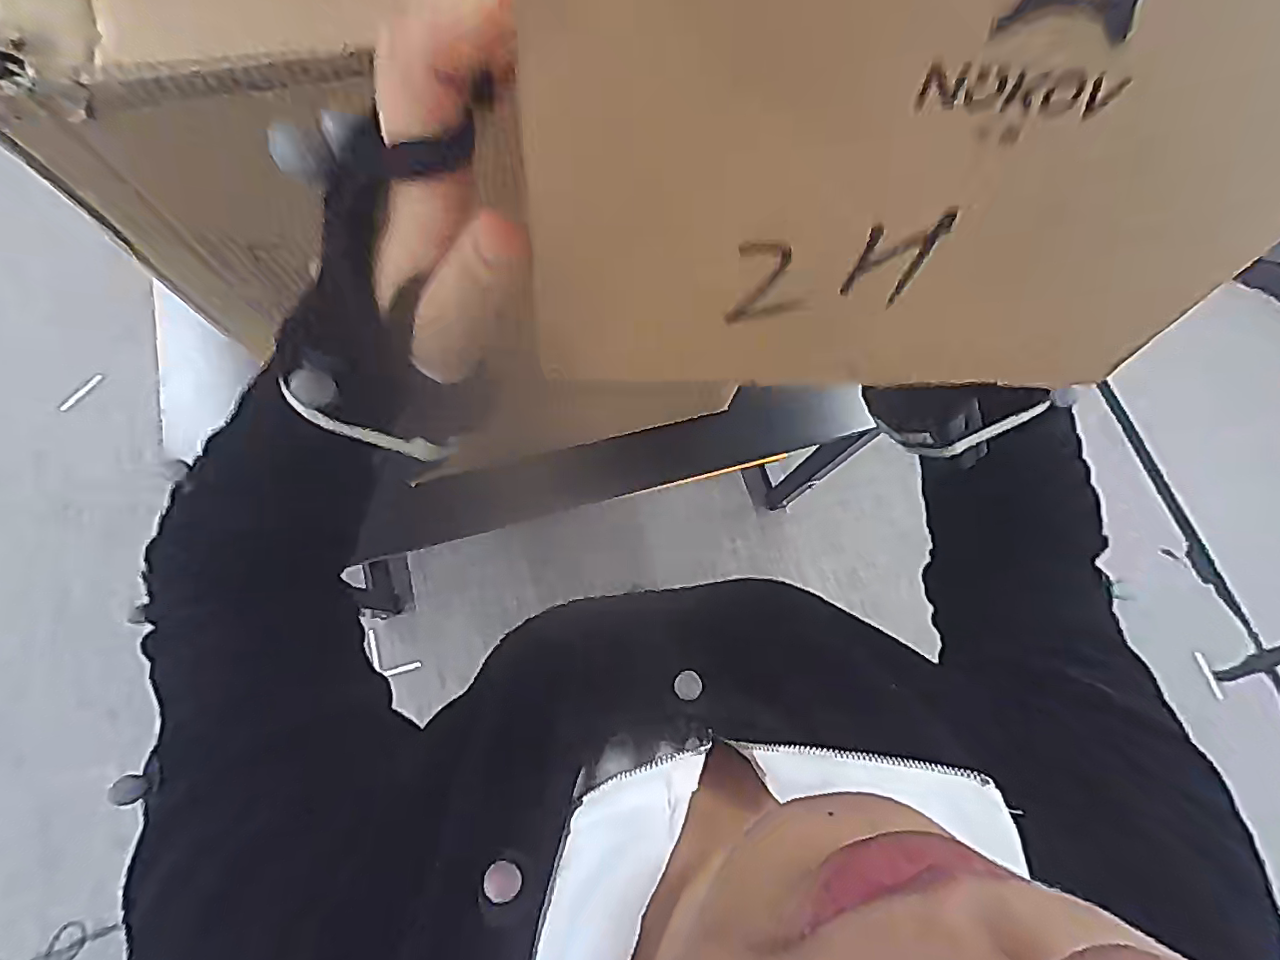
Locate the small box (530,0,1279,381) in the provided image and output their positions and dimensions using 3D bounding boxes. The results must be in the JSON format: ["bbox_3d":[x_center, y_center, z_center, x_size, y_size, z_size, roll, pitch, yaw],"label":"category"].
[{"bbox_3d":[0.057,-0.143,0.125,0.168,0.179,0.176,-1,59,-7],"label":"small box"}]
